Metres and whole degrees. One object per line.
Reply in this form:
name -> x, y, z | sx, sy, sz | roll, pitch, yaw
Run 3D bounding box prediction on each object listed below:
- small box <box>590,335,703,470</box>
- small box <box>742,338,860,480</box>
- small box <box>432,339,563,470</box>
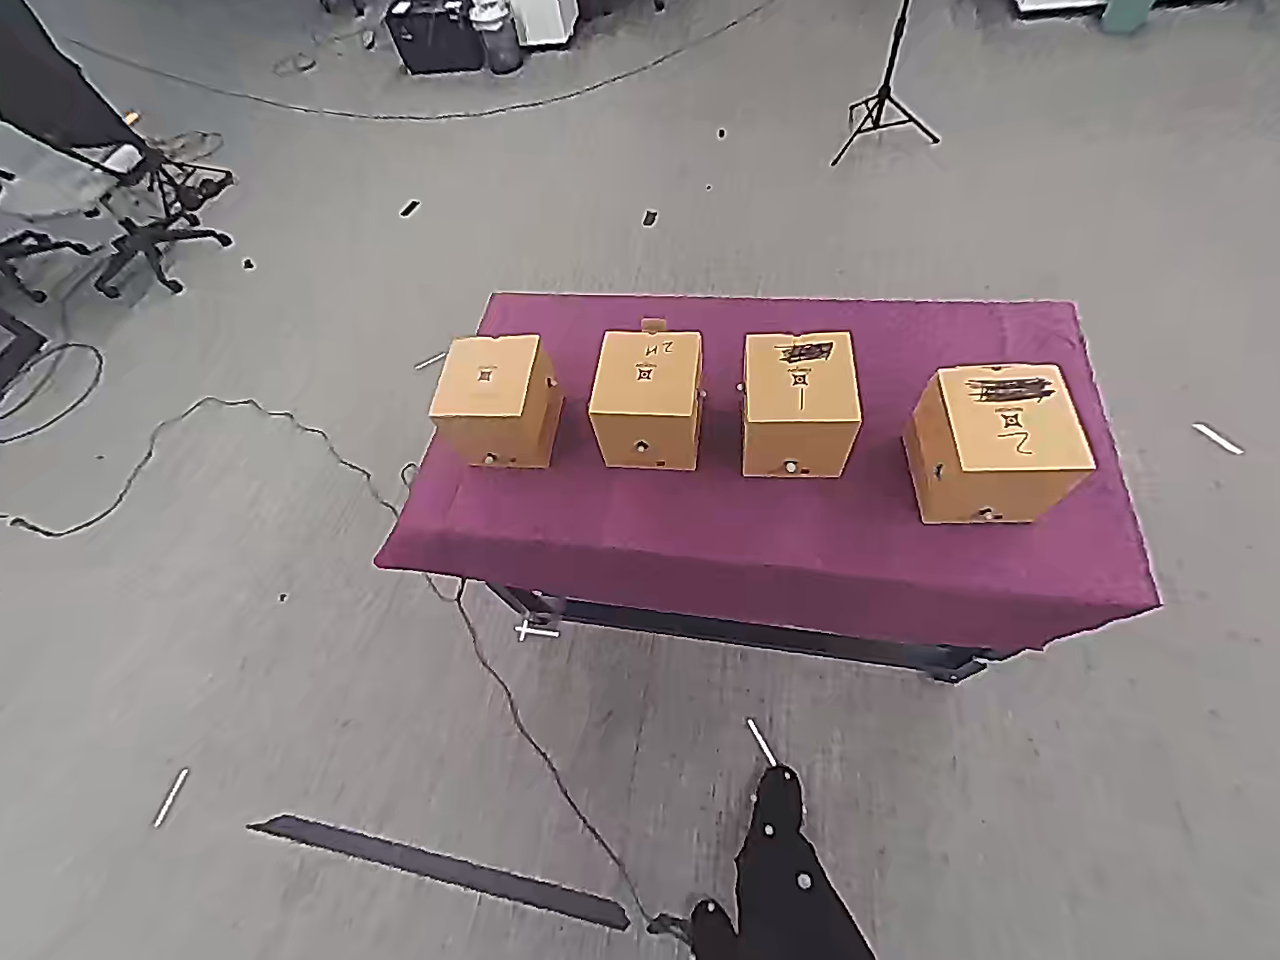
small box -> 0.022, -0.133, 0.956 | 0.168, 0.176, 0.179 | 4, 60, 10
small box -> 0.260, -0.117, 0.914 | 0.168, 0.176, 0.179 | 1, 61, 9
small box -> -0.249, -0.138, 0.998 | 0.168, 0.176, 0.179 | 2, 60, 9
